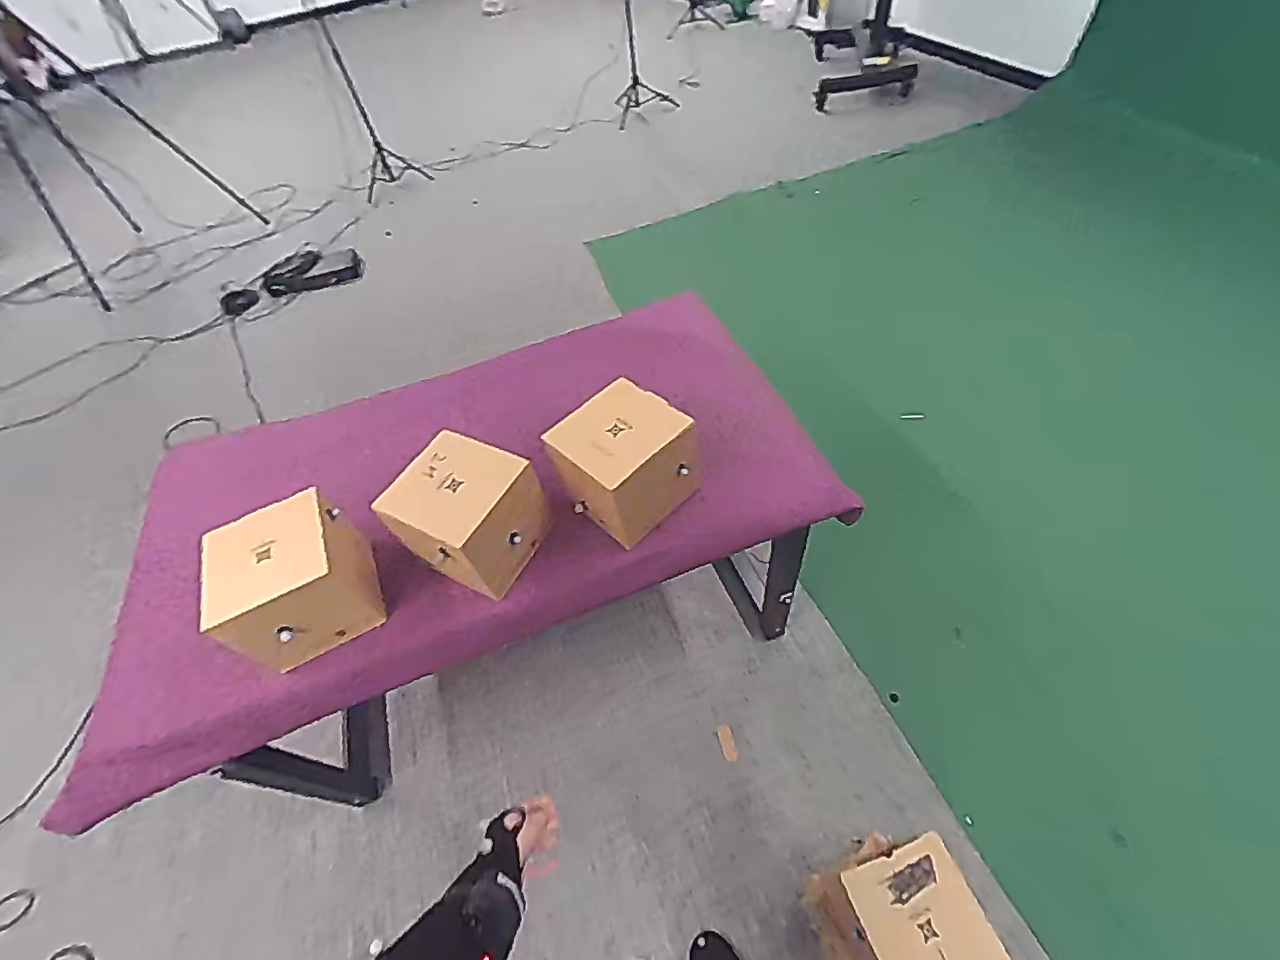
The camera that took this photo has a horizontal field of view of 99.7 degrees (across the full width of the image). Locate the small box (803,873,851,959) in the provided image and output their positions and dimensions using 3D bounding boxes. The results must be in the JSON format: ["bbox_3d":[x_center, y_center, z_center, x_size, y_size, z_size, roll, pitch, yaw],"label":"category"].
[{"bbox_3d":[0.431,0.869,1.061,0.179,0.176,0.168,-12,52,-1],"label":"small box"}]

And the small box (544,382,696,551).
[{"bbox_3d":[-0.025,-0.021,0.883,0.179,0.176,0.168,-40,57,-21],"label":"small box"}]

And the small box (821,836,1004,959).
[{"bbox_3d":[0.394,0.665,0.806,0.168,0.176,0.179,-18,54,-7],"label":"small box"}]

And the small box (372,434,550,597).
[{"bbox_3d":[-0.266,0.061,0.851,0.179,0.176,0.168,20,57,22],"label":"small box"}]

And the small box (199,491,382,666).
[{"bbox_3d":[-0.515,0.156,0.813,0.168,0.176,0.179,-26,52,-13],"label":"small box"}]
